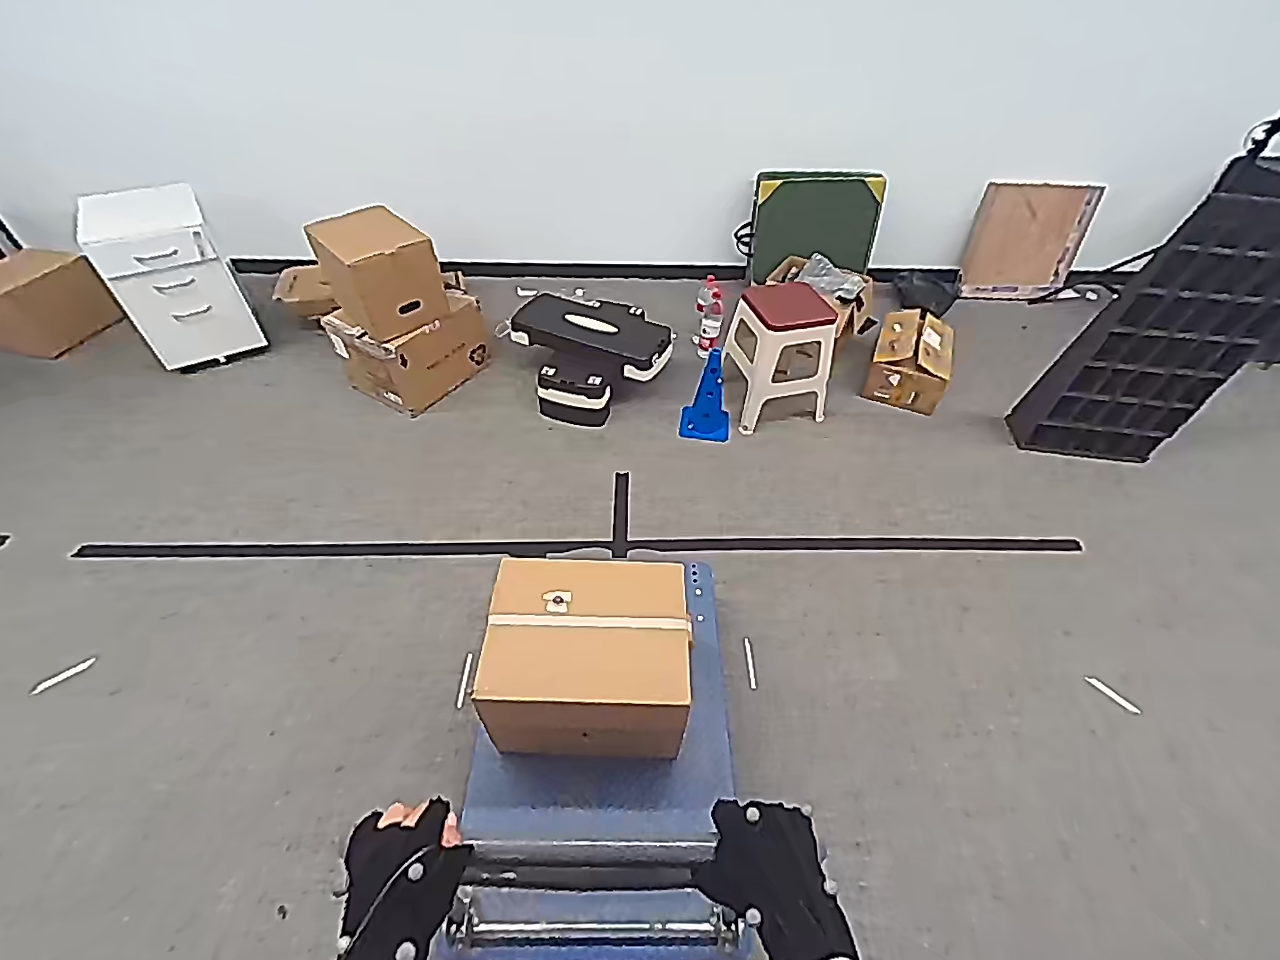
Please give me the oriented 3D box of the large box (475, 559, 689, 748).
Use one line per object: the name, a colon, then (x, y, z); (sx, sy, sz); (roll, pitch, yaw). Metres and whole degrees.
large box: (-0.107, 0.391, 1.205); (0.408, 0.320, 0.320); (2, 47, 0)
